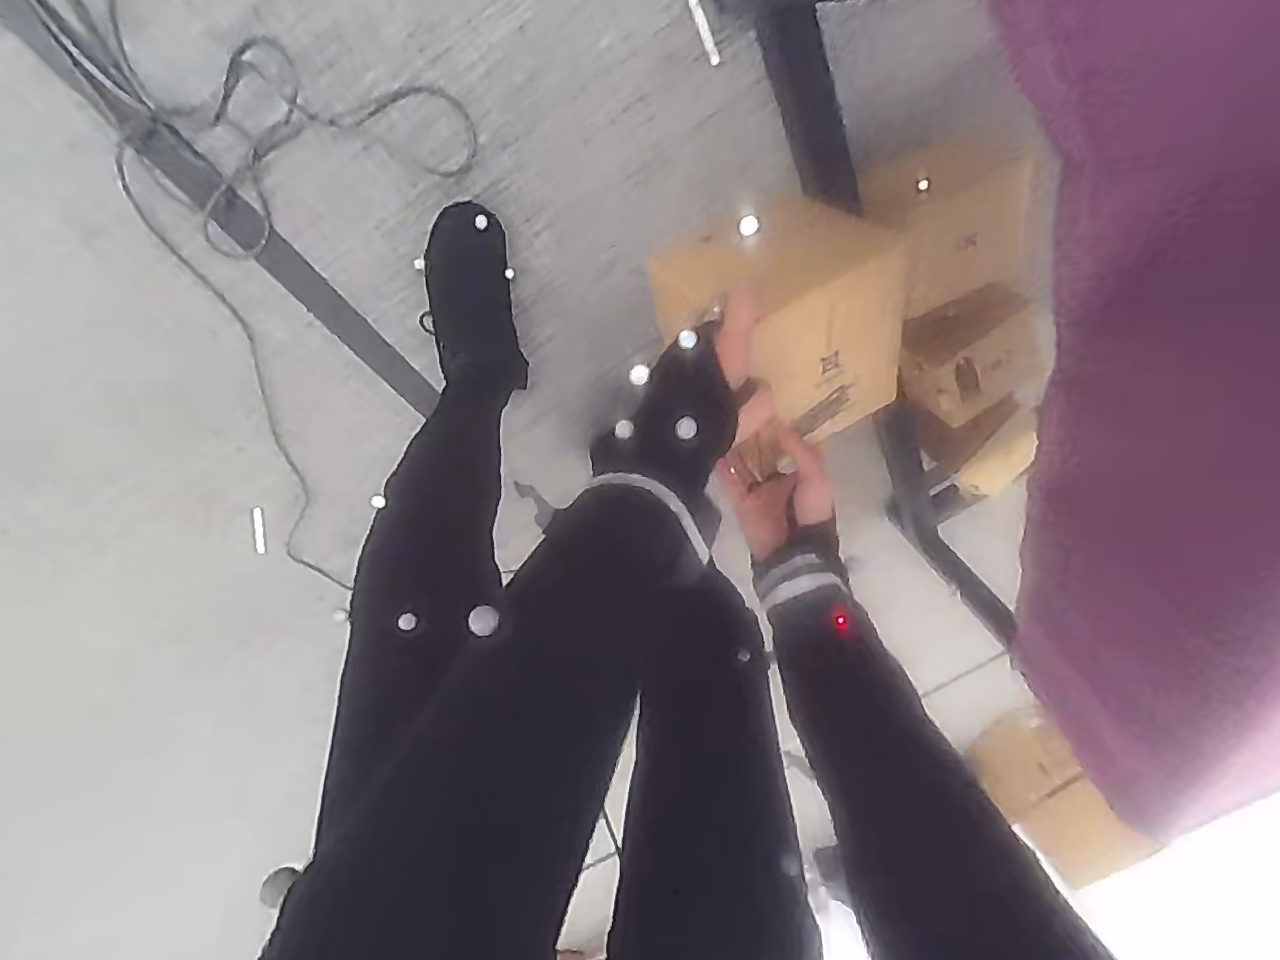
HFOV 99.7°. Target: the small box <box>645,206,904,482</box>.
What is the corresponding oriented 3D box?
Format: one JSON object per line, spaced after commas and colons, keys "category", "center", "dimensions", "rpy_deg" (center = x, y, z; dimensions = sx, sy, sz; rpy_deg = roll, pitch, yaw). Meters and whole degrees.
{"category": "small box", "center": [0.127, -0.138, 0.537], "dimensions": [0.168, 0.176, 0.179], "rpy_deg": [-31, 137, -8]}
